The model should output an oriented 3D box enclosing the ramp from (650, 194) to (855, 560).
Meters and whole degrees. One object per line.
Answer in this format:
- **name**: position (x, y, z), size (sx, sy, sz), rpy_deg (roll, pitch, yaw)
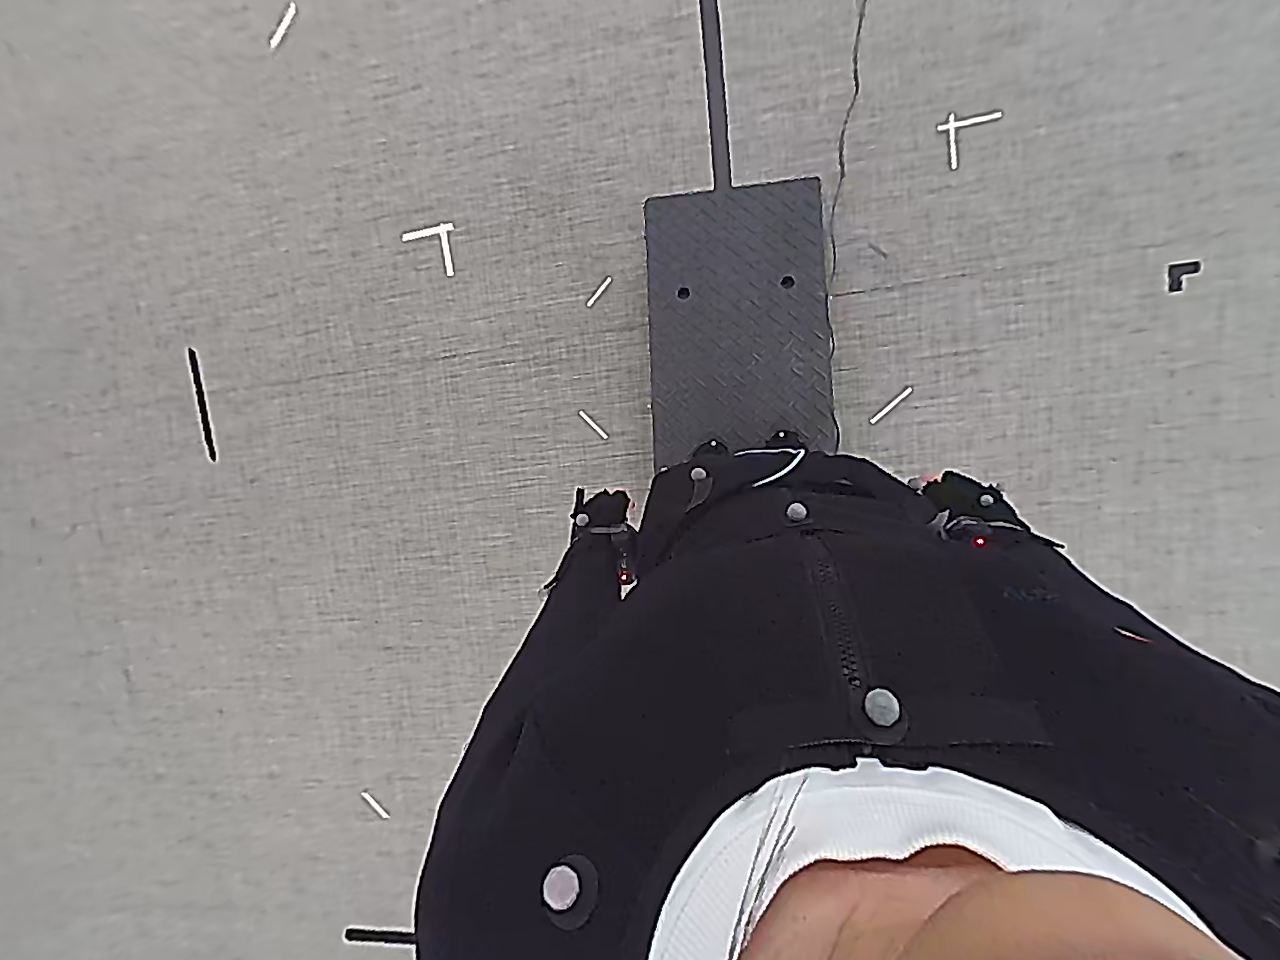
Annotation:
- **ramp**: position (0.292, -0.289, 1.502), size (0.509, 0.206, 0.991), rpy_deg (-6, 93, 12)
